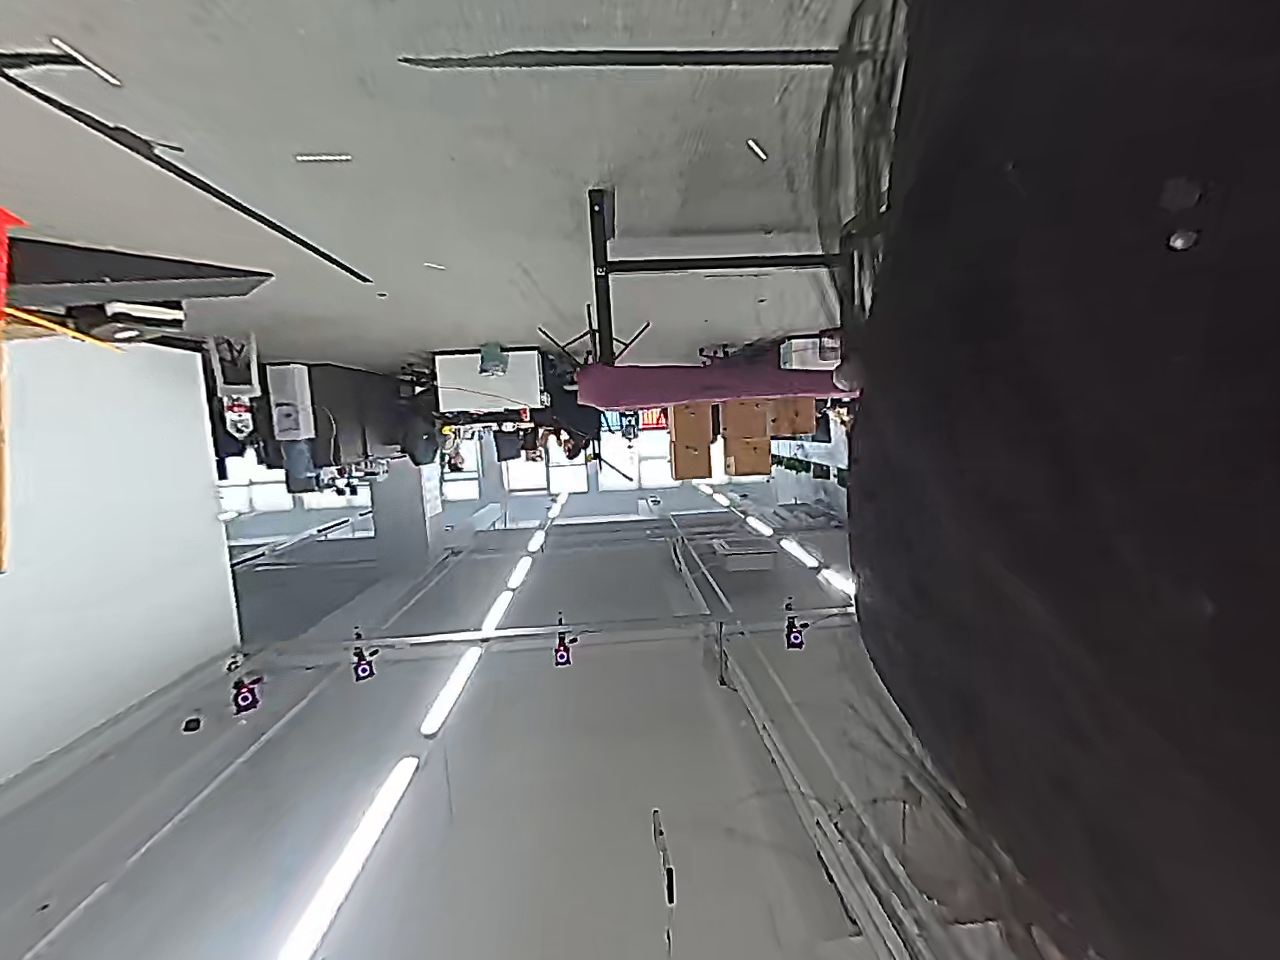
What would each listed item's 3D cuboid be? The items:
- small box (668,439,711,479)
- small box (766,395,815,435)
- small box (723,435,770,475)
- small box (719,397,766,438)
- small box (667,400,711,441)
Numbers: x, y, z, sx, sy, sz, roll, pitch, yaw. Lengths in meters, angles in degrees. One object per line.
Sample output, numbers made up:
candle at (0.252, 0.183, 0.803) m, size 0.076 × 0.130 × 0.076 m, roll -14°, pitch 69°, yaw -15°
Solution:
small box at (0.216, -0.100, 2.387) m, size 0.168 × 0.176 × 0.179 m, roll -4°, pitch -175°, yaw -1°
small box at (0.672, -0.294, 2.430) m, size 0.168 × 0.176 × 0.179 m, roll -3°, pitch -176°, yaw -5°
small box at (0.466, -0.115, 2.384) m, size 0.168 × 0.176 × 0.179 m, roll -4°, pitch -175°, yaw -6°
small box at (0.444, -0.275, 2.361) m, size 0.168 × 0.176 × 0.179 m, roll -4°, pitch -174°, yaw -4°
small box at (0.212, -0.261, 2.365) m, size 0.168 × 0.176 × 0.179 m, roll -4°, pitch -175°, yaw -4°
